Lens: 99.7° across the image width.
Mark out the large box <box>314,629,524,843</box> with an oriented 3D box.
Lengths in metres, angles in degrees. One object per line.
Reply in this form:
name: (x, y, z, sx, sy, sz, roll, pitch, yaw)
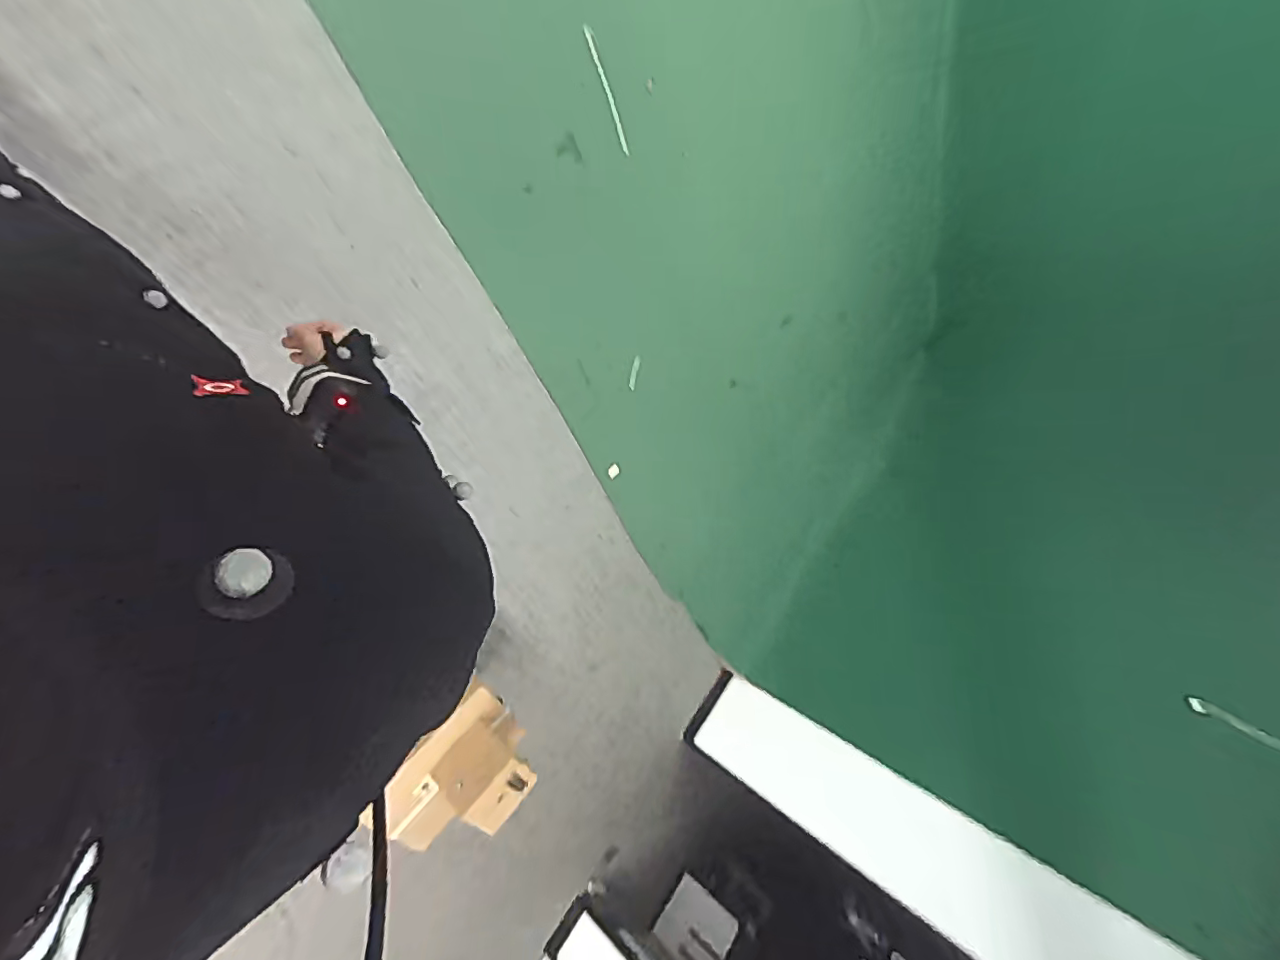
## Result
large box: (-0.624, 0.721, 1.563, 0.408, 0.320, 0.320, -44, 135, -25)
